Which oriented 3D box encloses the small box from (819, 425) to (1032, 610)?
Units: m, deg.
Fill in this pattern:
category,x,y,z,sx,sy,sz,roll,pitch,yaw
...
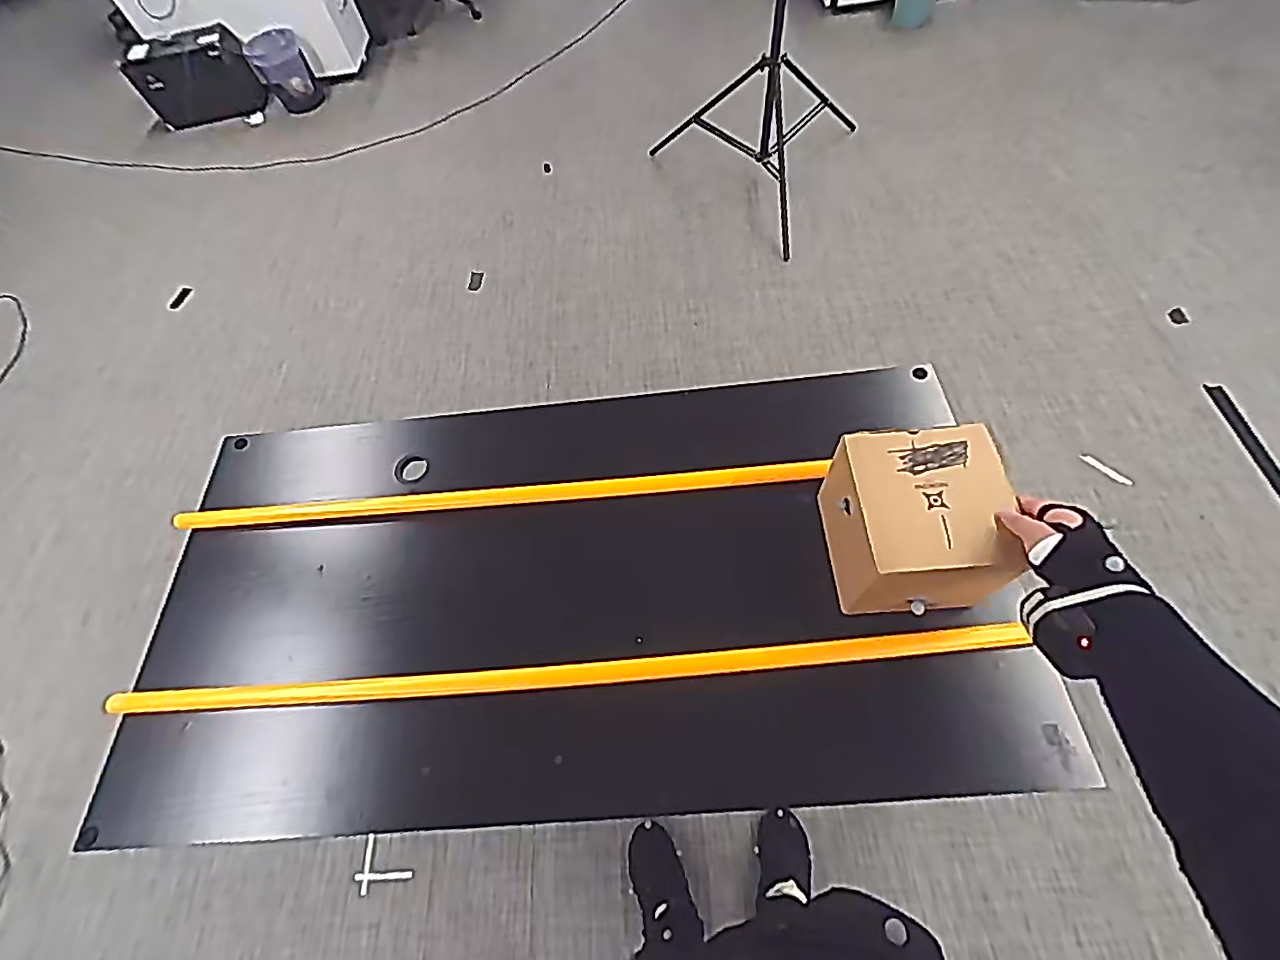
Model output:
category,x,y,z,sx,sy,sz,roll,pitch,yaw
small box,0.333,0.053,0.677,0.168,0.176,0.179,-5,62,5
